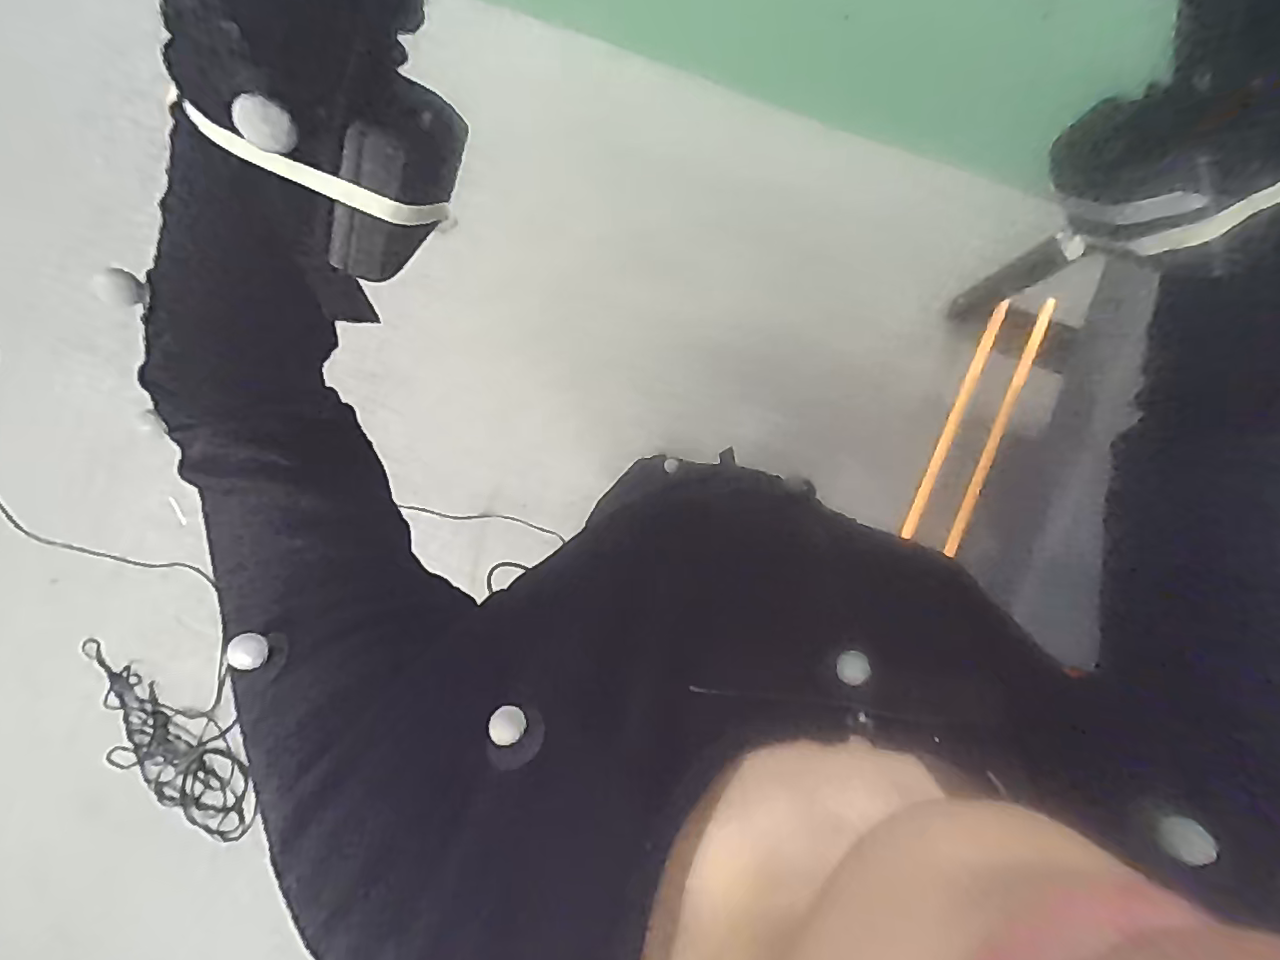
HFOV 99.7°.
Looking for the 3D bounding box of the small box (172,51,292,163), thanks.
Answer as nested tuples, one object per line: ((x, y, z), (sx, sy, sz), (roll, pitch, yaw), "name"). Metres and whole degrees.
((-1.105, -1.010, 1.480), (0.179, 0.176, 0.168), (22, 91, 4), "small box")
